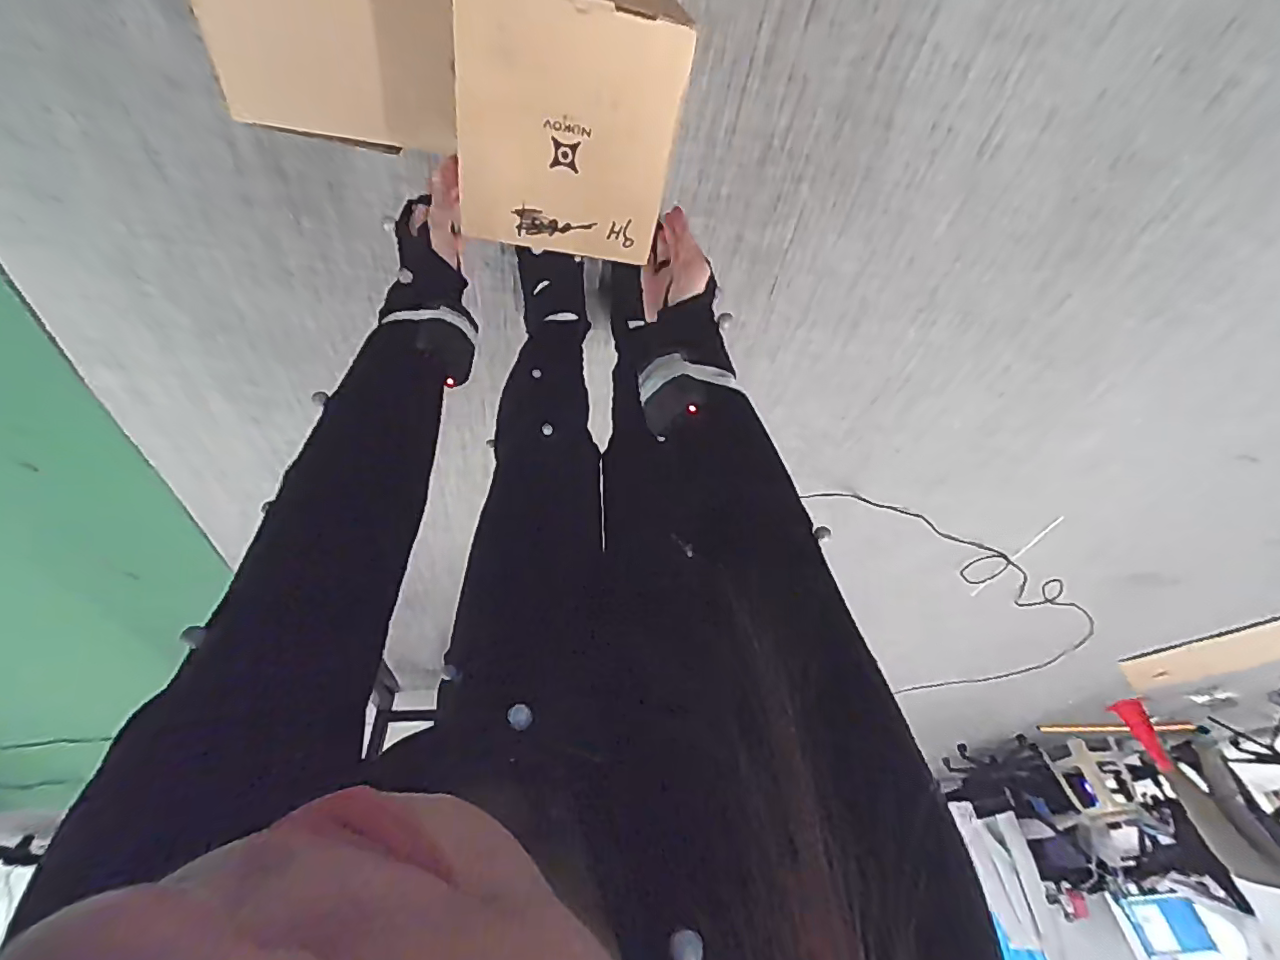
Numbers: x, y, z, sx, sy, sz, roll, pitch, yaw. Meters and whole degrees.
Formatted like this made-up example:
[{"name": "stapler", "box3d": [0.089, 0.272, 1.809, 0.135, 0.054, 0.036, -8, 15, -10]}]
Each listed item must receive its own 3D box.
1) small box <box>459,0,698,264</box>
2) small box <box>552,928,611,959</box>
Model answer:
[{"name": "small box", "box3d": [-0.063, -0.322, 0.473, 0.168, 0.176, 0.179, 6, 136, -12]}, {"name": "small box", "box3d": [-0.169, 1.399, 1.553, 0.168, 0.176, 0.179, 1, 138, -6]}]
